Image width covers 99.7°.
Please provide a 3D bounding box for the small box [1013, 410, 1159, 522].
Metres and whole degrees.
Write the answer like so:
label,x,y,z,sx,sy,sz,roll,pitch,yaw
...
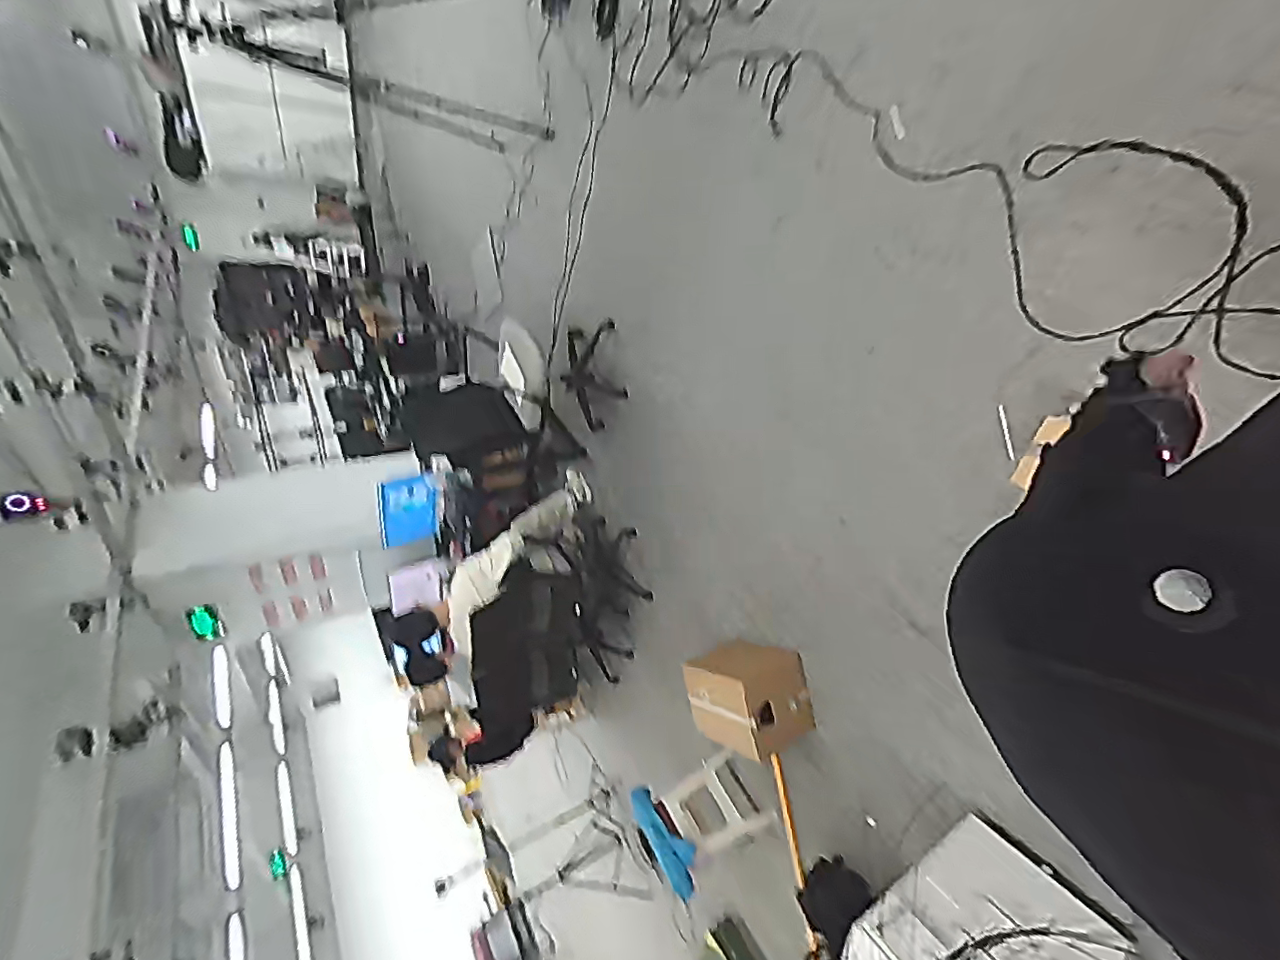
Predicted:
label,x,y,z,sx,sy,sz,roll,pitch,yaw
small box,0.979,-0.038,1.188,0.168,0.176,0.179,43,135,43
